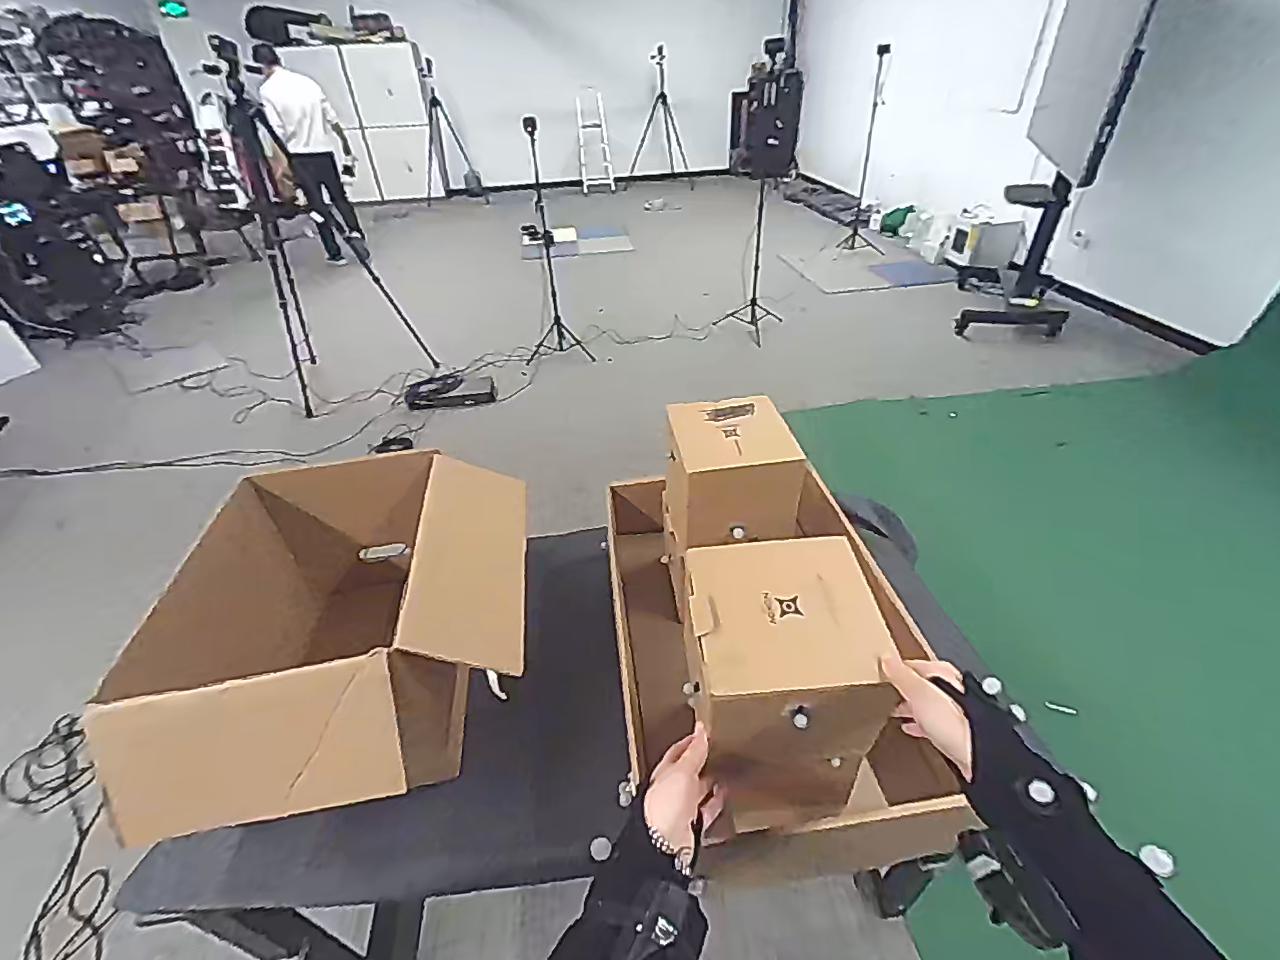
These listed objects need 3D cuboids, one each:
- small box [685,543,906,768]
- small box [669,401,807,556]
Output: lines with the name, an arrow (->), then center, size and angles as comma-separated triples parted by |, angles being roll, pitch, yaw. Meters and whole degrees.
small box -> 0.143, 0.188, 0.572 | 0.179, 0.176, 0.168 | -4, 44, -1
small box -> 0.137, 0.000, 0.831 | 0.168, 0.176, 0.179 | -7, 39, -4
